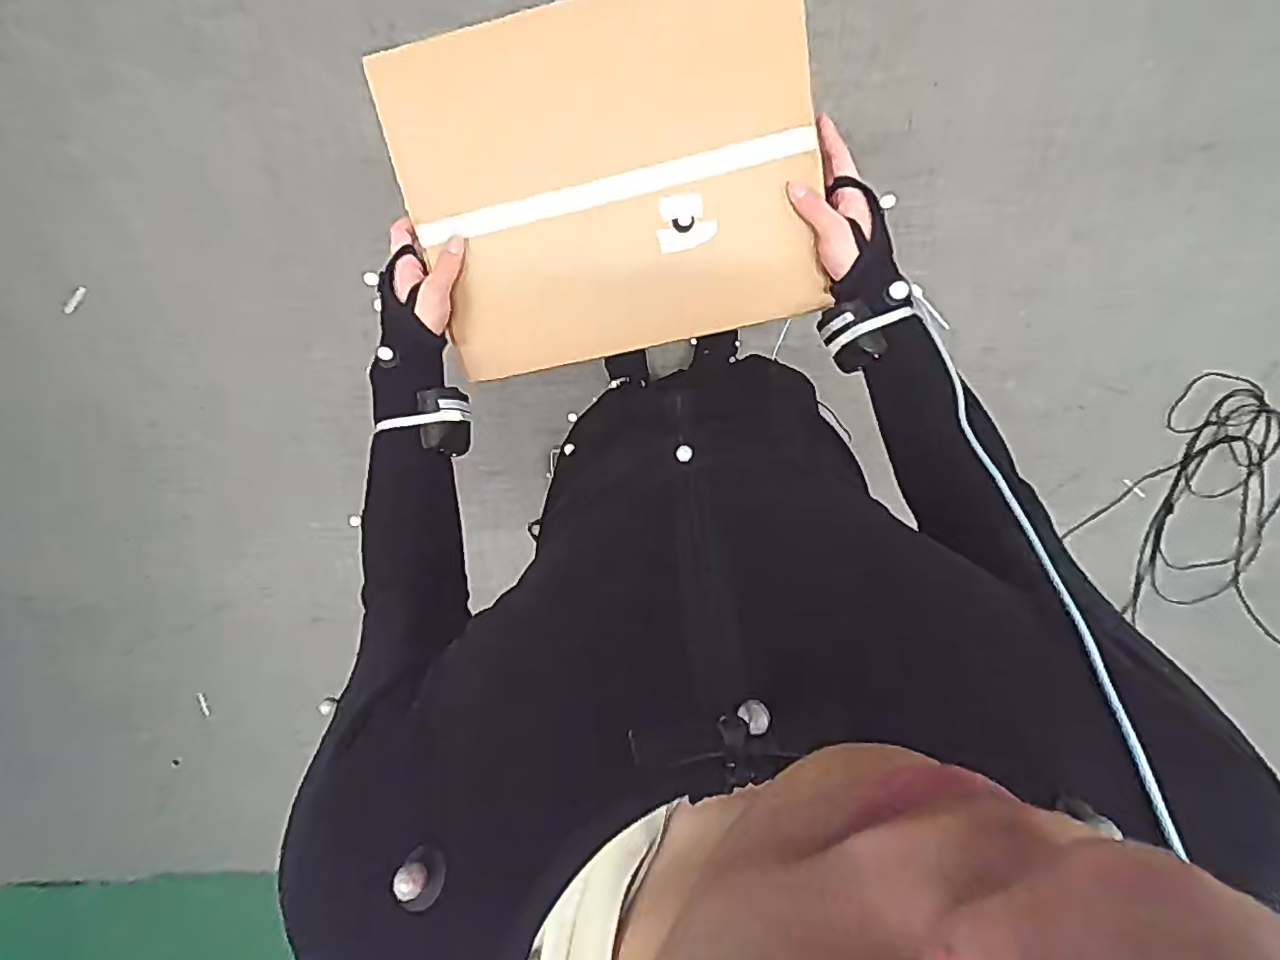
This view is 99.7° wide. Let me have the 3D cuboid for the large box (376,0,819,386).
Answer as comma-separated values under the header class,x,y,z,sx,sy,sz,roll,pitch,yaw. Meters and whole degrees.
class,x,y,z,sx,sy,sz,roll,pitch,yaw
large box,-0.031,-0.335,0.692,0.408,0.320,0.320,-11,109,6
